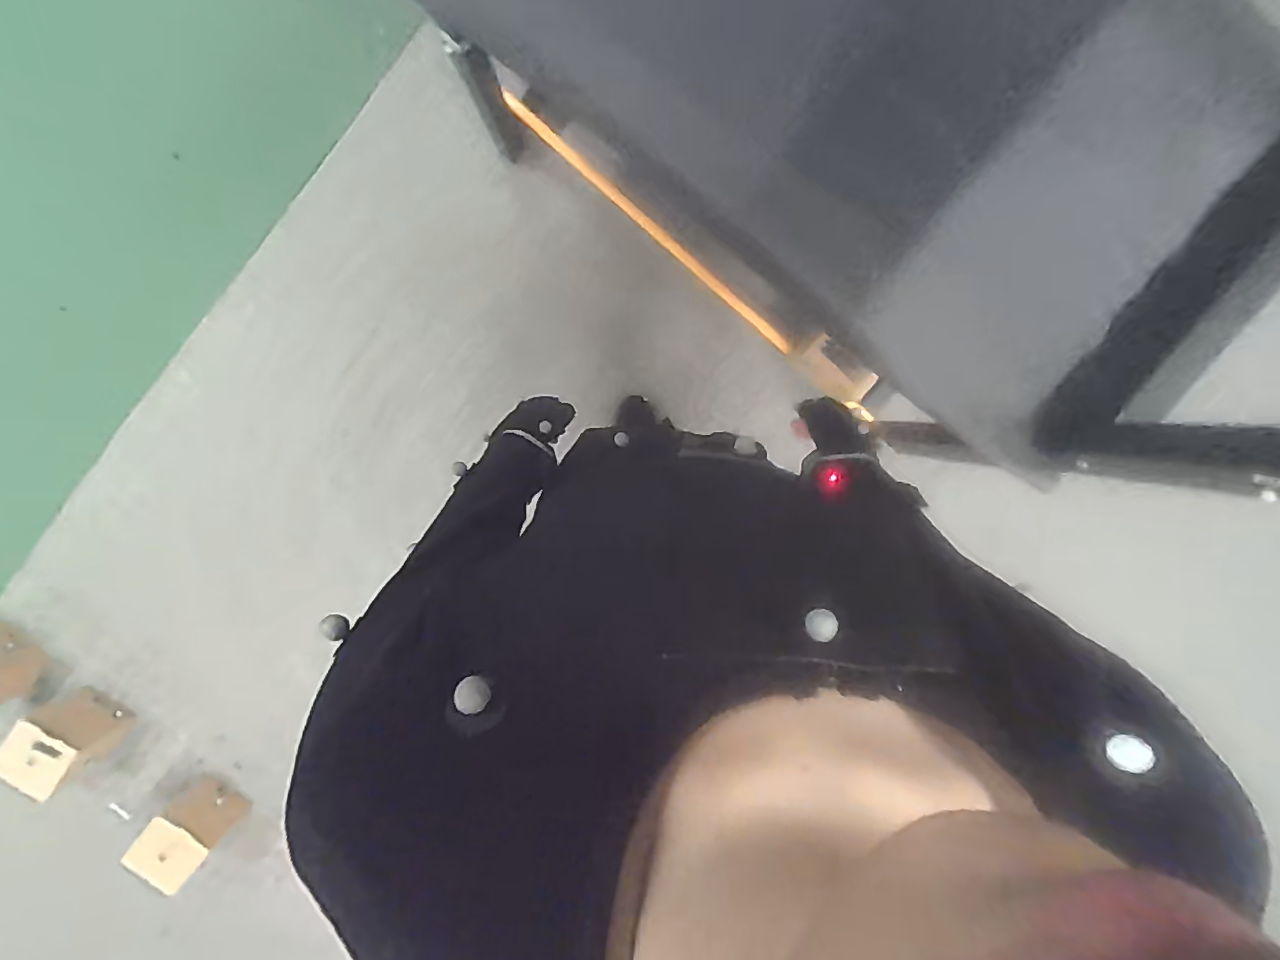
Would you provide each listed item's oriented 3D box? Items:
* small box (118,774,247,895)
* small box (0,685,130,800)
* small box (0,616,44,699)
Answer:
[{"bbox_3d":[-1.225,0.951,1.464,0.168,0.176,0.179,41,93,-6],"label":"small box"},{"bbox_3d":[-1.523,0.684,1.431,0.168,0.176,0.179,36,95,-4],"label":"small box"},{"bbox_3d":[-1.742,0.490,1.407,0.168,0.176,0.179,40,94,-6],"label":"small box"}]
